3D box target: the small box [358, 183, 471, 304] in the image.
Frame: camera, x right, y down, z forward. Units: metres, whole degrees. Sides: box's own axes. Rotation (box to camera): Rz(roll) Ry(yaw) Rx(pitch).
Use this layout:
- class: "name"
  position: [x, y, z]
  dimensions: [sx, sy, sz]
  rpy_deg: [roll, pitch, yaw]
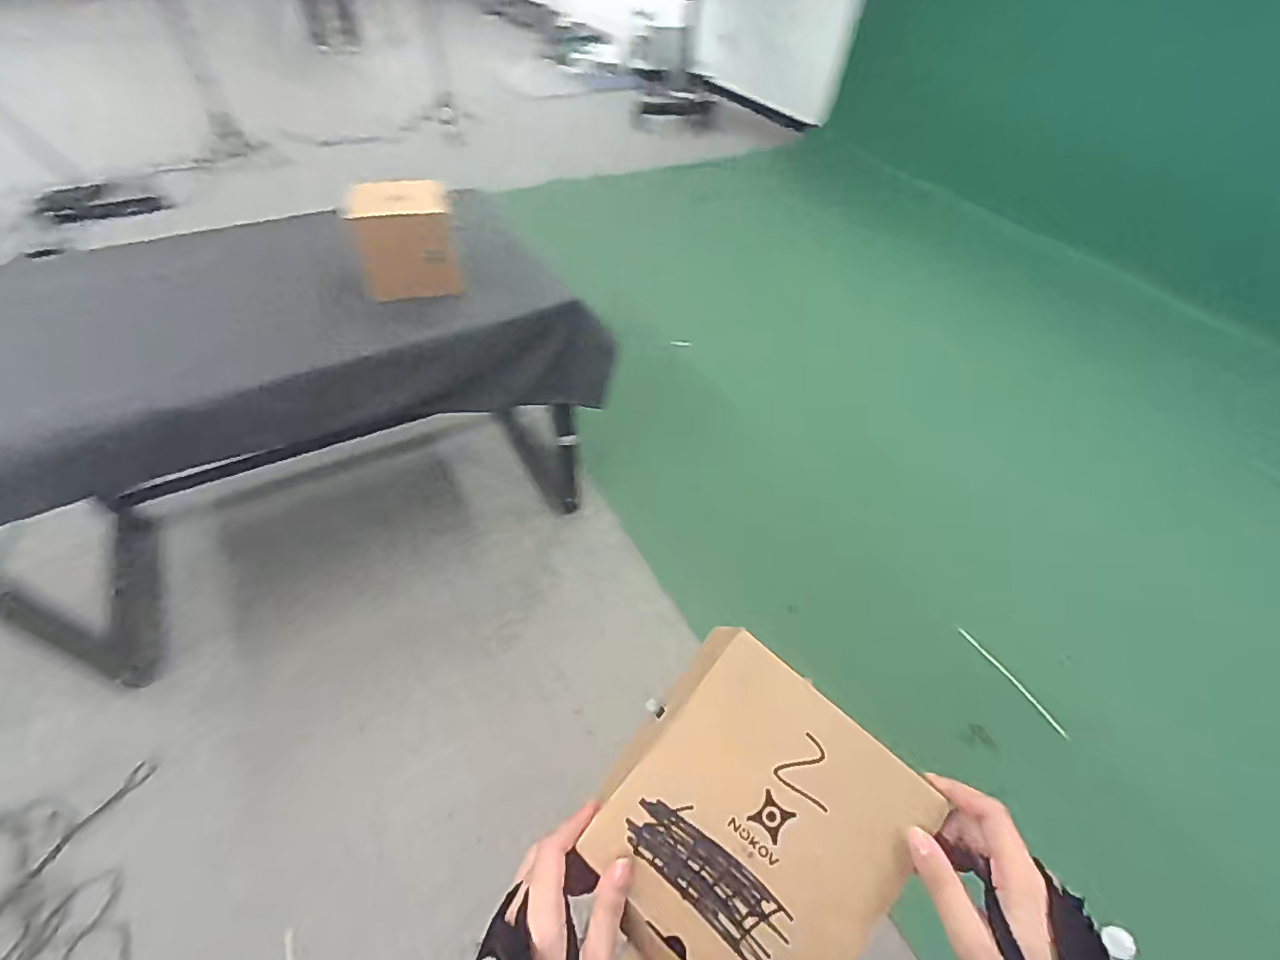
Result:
- class: "small box"
  position: [-0.447, -0.477, 1.095]
  dimensions: [0.179, 0.176, 0.168]
  rpy_deg: [-11, 49, -12]
